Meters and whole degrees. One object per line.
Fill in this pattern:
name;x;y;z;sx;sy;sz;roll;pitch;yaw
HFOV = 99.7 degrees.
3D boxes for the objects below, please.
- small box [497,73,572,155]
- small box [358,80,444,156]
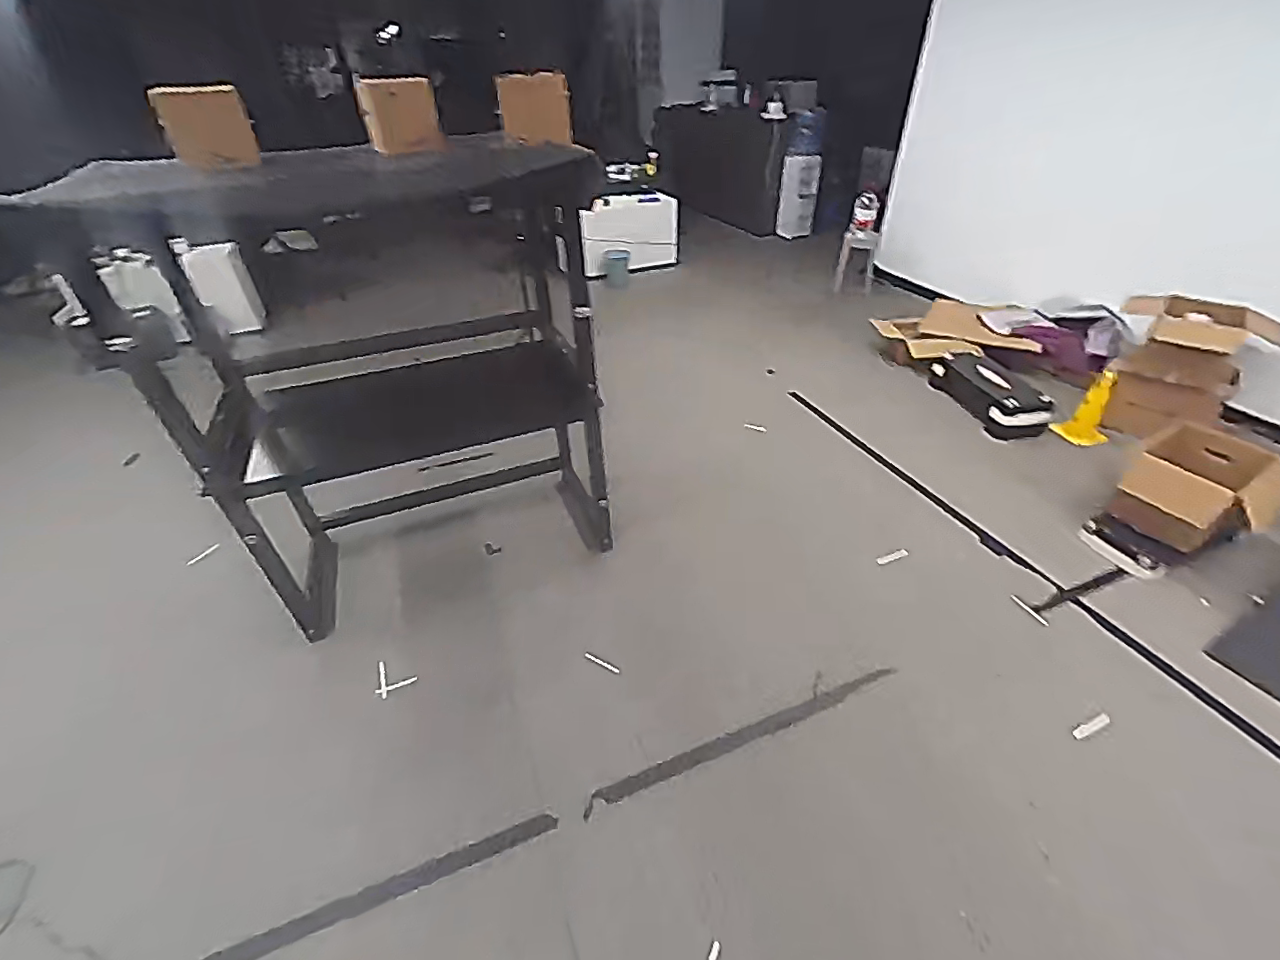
small box;-0.278;-0.966;1.432;0.168;0.176;0.179;-10;37;-9
small box;-0.682;-1.035;1.545;0.168;0.176;0.179;-23;42;-23
